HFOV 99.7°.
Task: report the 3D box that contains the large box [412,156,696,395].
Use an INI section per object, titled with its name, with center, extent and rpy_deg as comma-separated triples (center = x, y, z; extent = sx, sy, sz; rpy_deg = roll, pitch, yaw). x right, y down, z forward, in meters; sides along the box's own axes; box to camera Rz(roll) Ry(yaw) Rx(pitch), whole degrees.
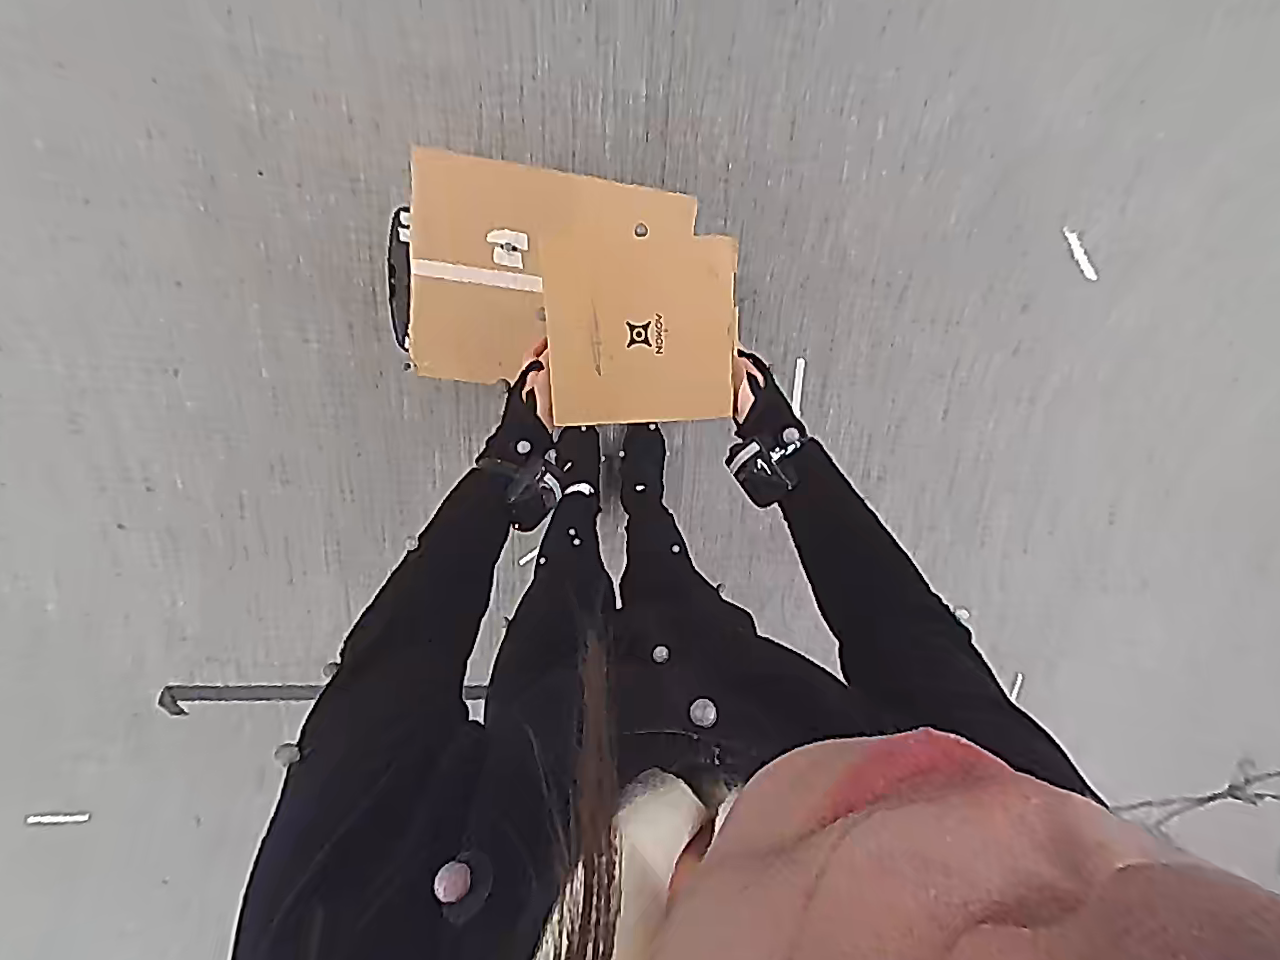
[large box]
center = -0.142, -0.323, 0.942
extent = 0.408, 0.320, 0.320
rpy_deg = 6, 105, -7

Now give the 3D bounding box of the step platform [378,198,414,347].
[step platform]
center = -0.189, -0.382, 1.169
extent = 0.684, 0.204, 0.286
rpy_deg = 8, 106, -8

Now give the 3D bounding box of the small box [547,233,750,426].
[small box]
center = -0.001, -0.154, 0.554
extent = 0.179, 0.176, 0.168
rpy_deg = -3, 108, -6
